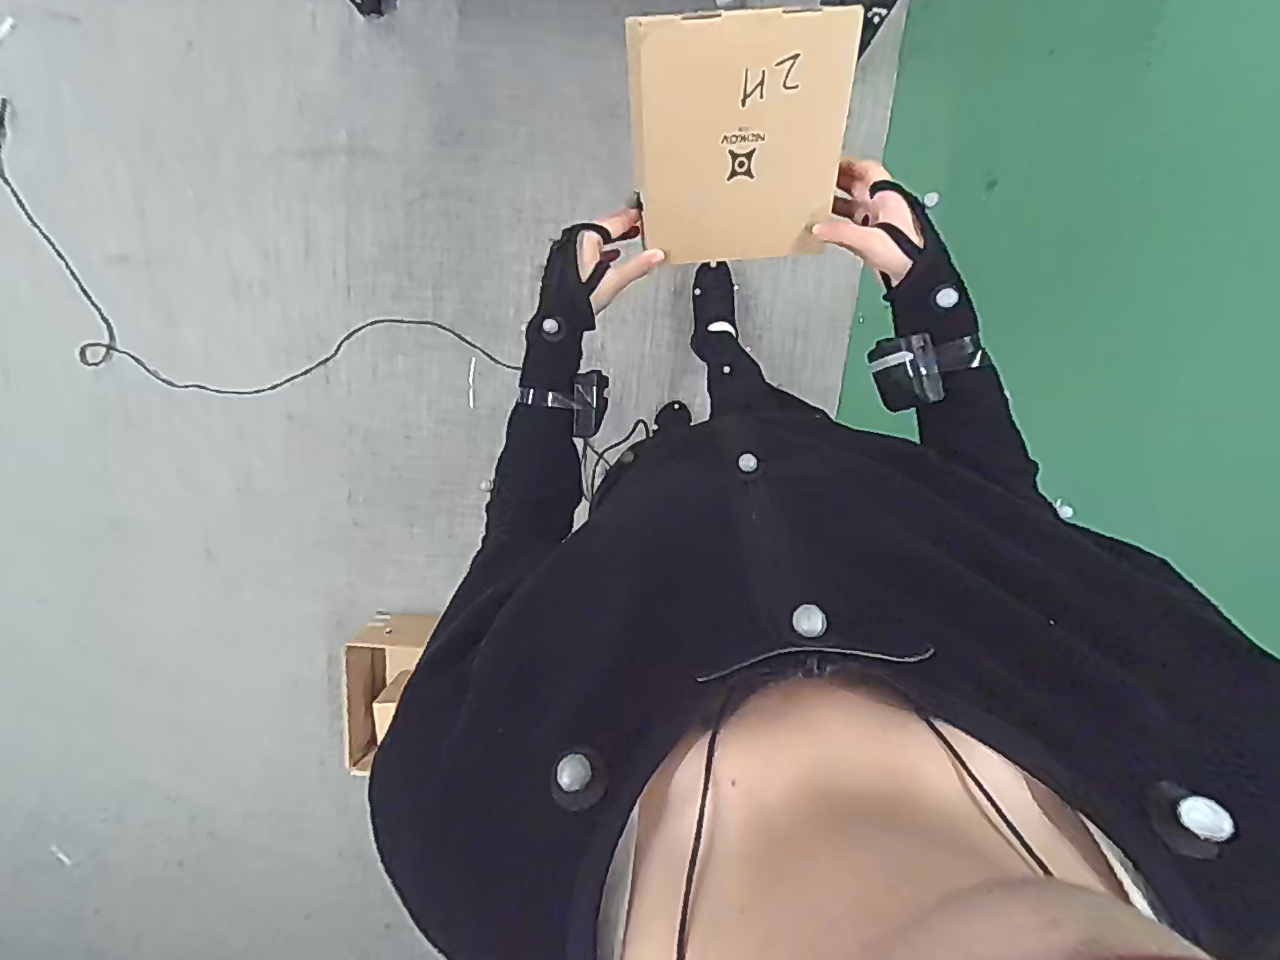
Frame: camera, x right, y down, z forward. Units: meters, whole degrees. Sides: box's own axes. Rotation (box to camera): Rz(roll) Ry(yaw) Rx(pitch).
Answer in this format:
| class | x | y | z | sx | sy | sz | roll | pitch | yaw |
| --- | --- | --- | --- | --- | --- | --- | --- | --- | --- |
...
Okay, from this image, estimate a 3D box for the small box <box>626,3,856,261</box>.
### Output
| class | x | y | z | sx | sy | sz | roll | pitch | yaw |
| --- | --- | --- | --- | --- | --- | --- | --- | --- | --- |
| small box | 0.076 | -0.325 | 0.506 | 0.168 | 0.176 | 0.179 | -5 | 129 | -1 |
